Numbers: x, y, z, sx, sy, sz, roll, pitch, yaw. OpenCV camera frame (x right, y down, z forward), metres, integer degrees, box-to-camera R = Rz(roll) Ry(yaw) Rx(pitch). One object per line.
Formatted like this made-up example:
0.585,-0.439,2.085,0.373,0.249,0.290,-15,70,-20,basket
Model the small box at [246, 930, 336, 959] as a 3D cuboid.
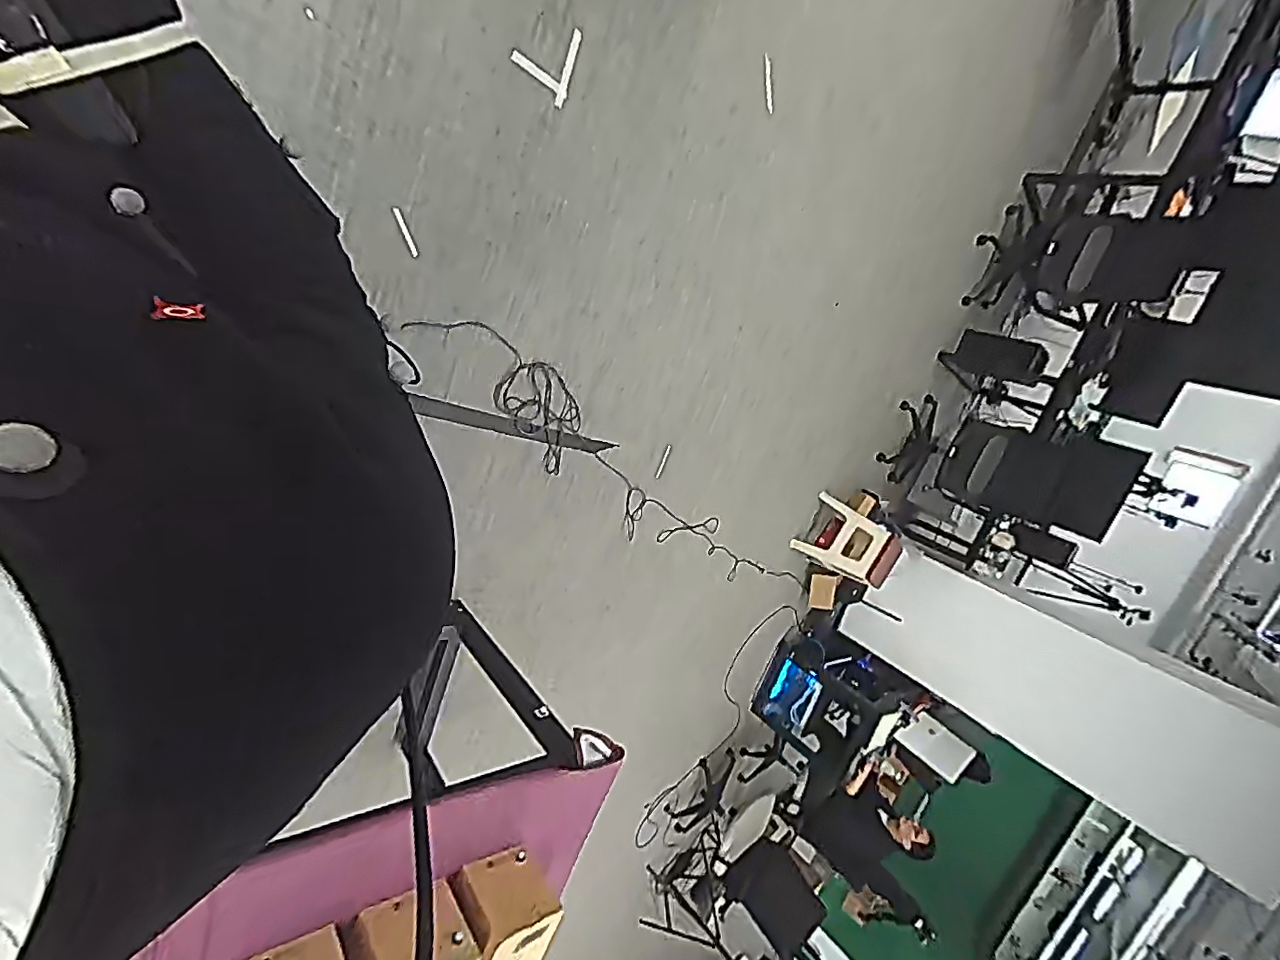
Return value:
-0.560,0.851,0.818,0.168,0.176,0.179,14,103,-49,small box
